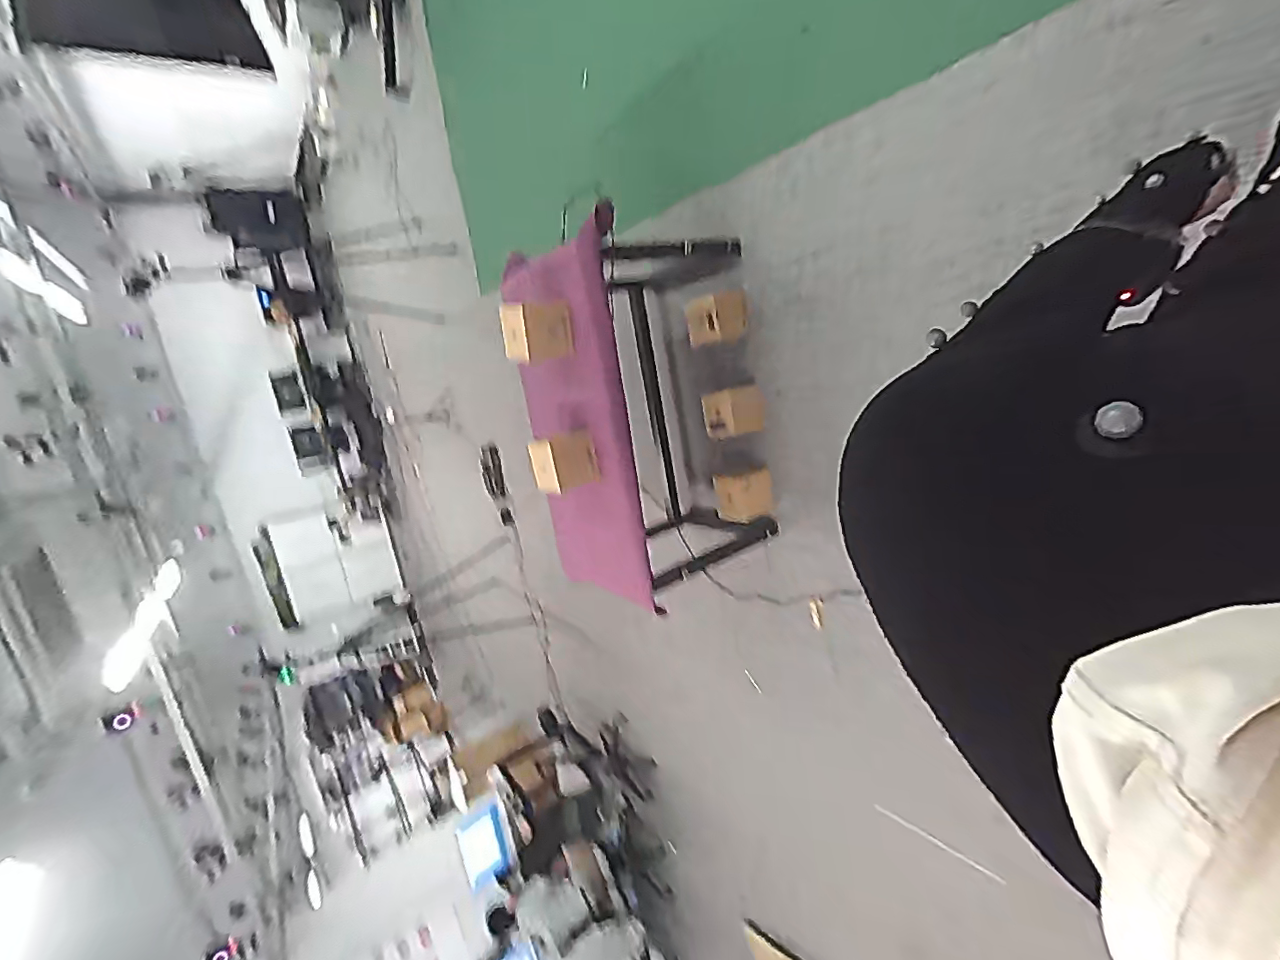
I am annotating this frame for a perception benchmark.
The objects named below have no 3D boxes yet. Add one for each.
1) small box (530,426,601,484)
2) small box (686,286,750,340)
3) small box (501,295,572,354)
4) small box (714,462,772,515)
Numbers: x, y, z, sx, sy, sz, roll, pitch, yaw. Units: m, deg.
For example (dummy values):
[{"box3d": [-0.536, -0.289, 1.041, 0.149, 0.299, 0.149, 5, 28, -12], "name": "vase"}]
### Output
[{"box3d": [-0.260, -0.089, 1.882, 0.179, 0.176, 0.168, 6, 110, 54], "name": "small box"}, {"box3d": [0.311, -0.652, 2.109, 0.179, 0.176, 0.168, 4, 108, 56], "name": "small box"}, {"box3d": [-0.335, -0.519, 1.786, 0.179, 0.176, 0.168, 23, 123, 49], "name": "small box"}, {"box3d": [0.434, 0.031, 2.255, 0.168, 0.176, 0.179, 7, 111, 54], "name": "small box"}]
